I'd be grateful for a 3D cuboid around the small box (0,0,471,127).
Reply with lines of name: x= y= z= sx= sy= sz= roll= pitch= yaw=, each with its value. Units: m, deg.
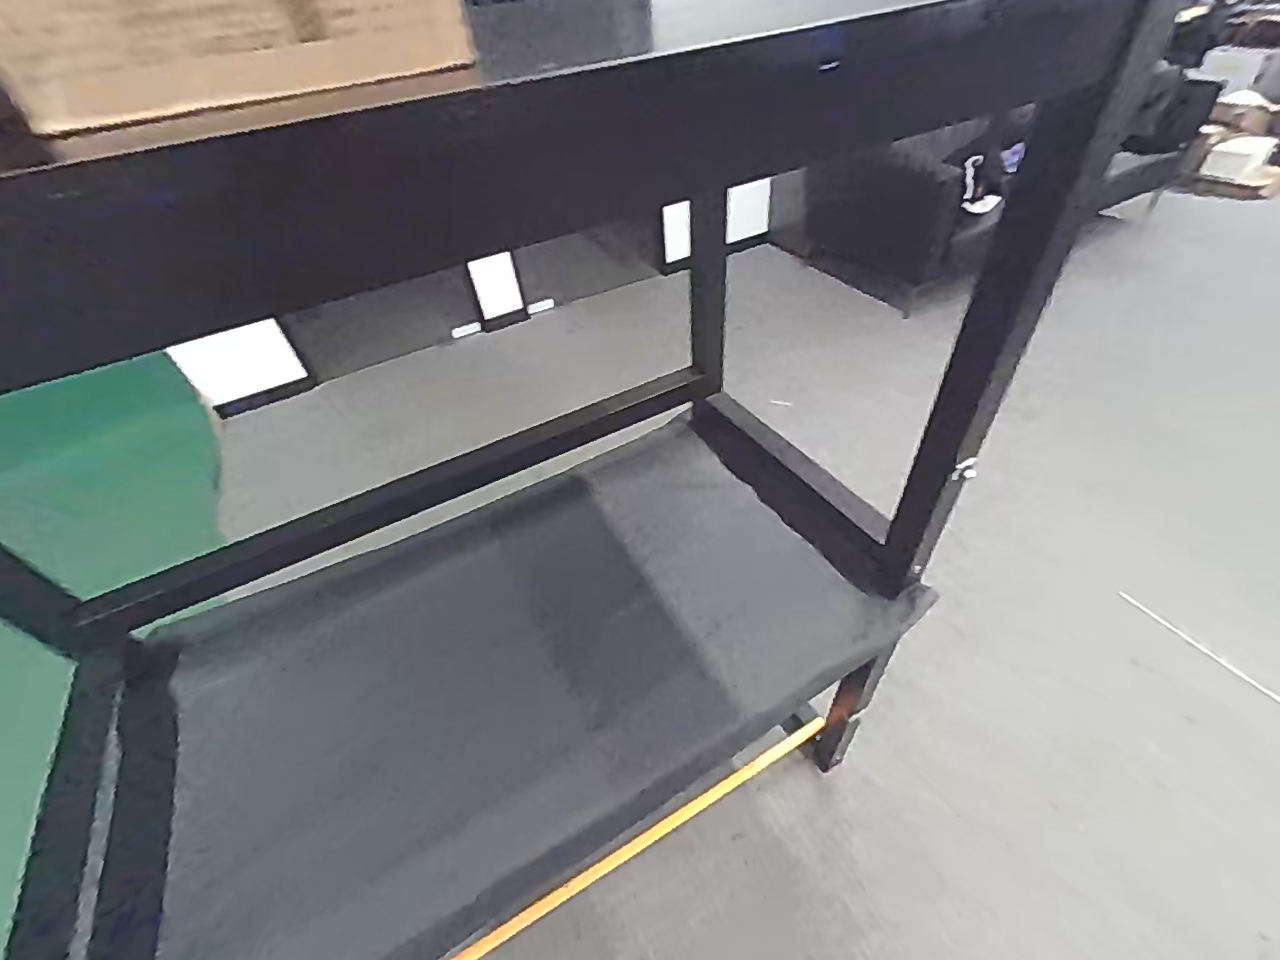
small box: x=-0.188 y=-0.261 z=0.221 sx=0.168 sy=0.176 sz=0.179 roll=-23 pitch=47 yaw=-16
